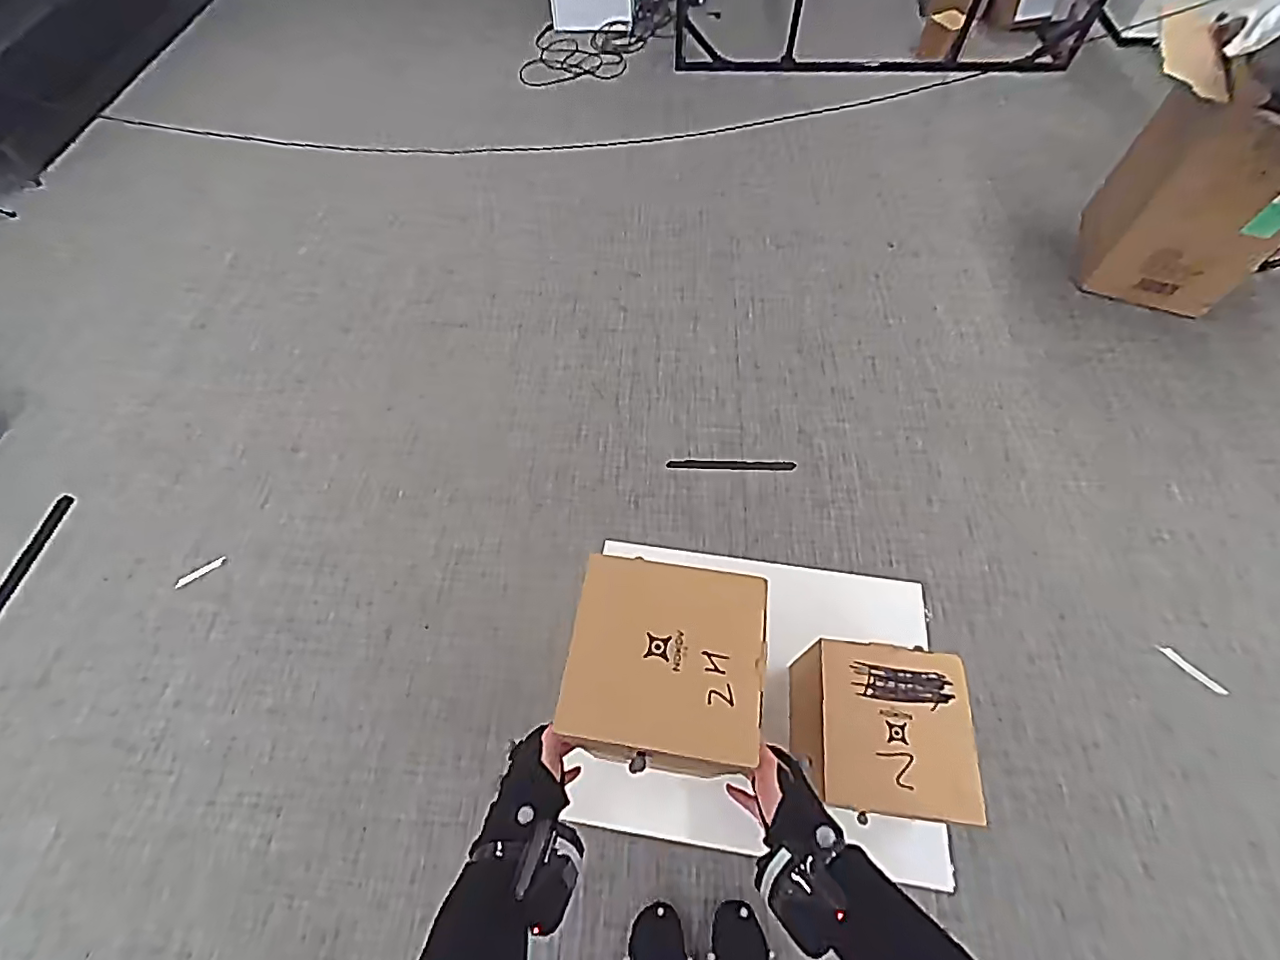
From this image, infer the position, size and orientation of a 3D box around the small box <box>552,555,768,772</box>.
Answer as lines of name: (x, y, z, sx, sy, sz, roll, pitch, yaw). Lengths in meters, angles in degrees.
small box: (0.025, 0.194, 0.553, 0.179, 0.176, 0.168, 8, 61, 5)

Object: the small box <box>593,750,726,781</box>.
small box: (0.029, 0.273, 0.697, 0.168, 0.176, 0.179, 8, 59, 6)
